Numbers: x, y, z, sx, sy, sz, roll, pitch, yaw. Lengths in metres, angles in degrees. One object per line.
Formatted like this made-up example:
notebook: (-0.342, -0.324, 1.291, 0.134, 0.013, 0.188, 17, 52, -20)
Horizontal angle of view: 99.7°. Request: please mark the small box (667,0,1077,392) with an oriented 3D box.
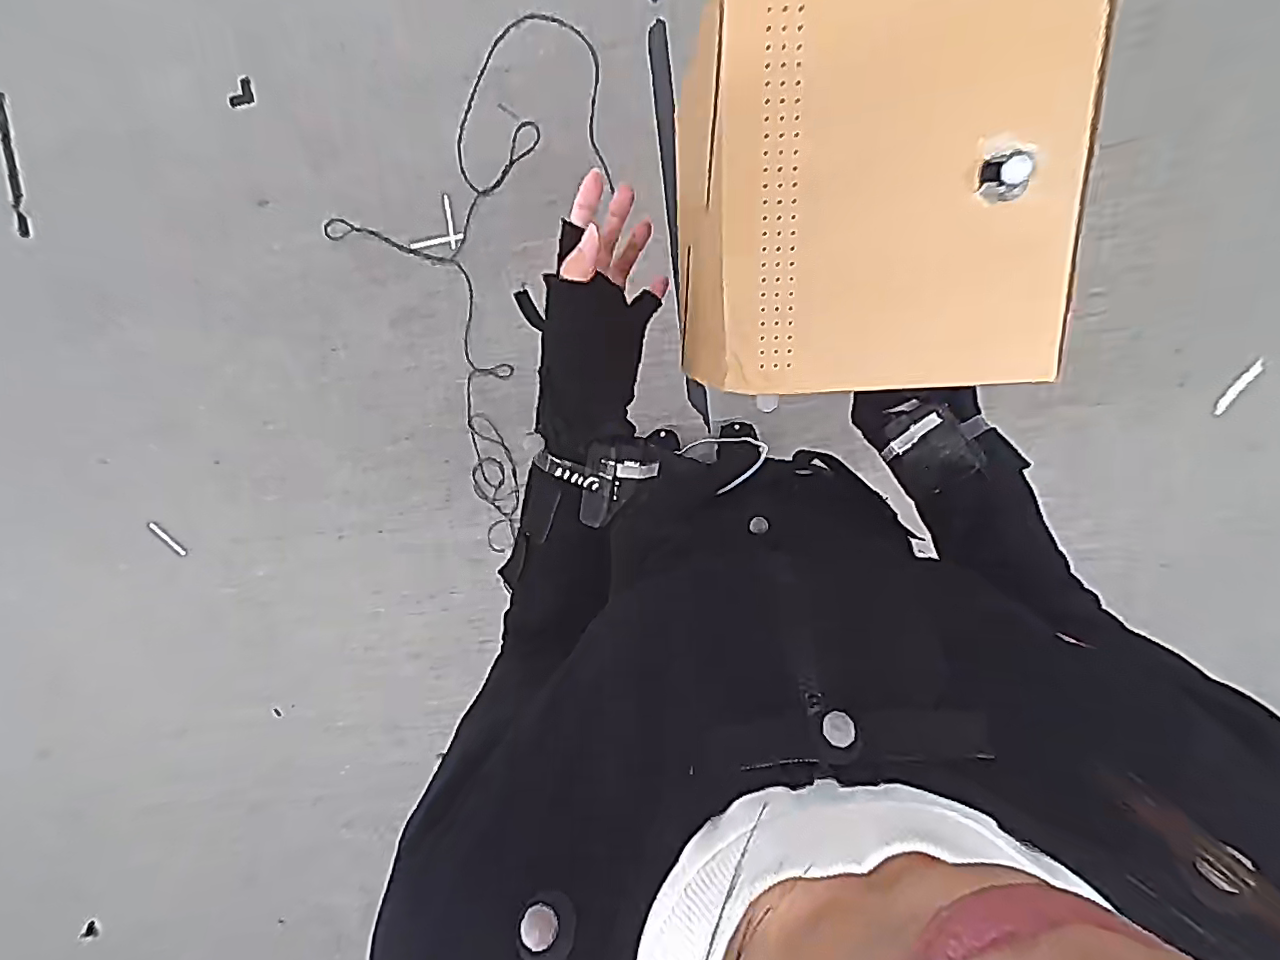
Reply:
small box: (0.107, -0.152, 0.326, 0.176, 0.168, 0.179, -3, 105, -1)
